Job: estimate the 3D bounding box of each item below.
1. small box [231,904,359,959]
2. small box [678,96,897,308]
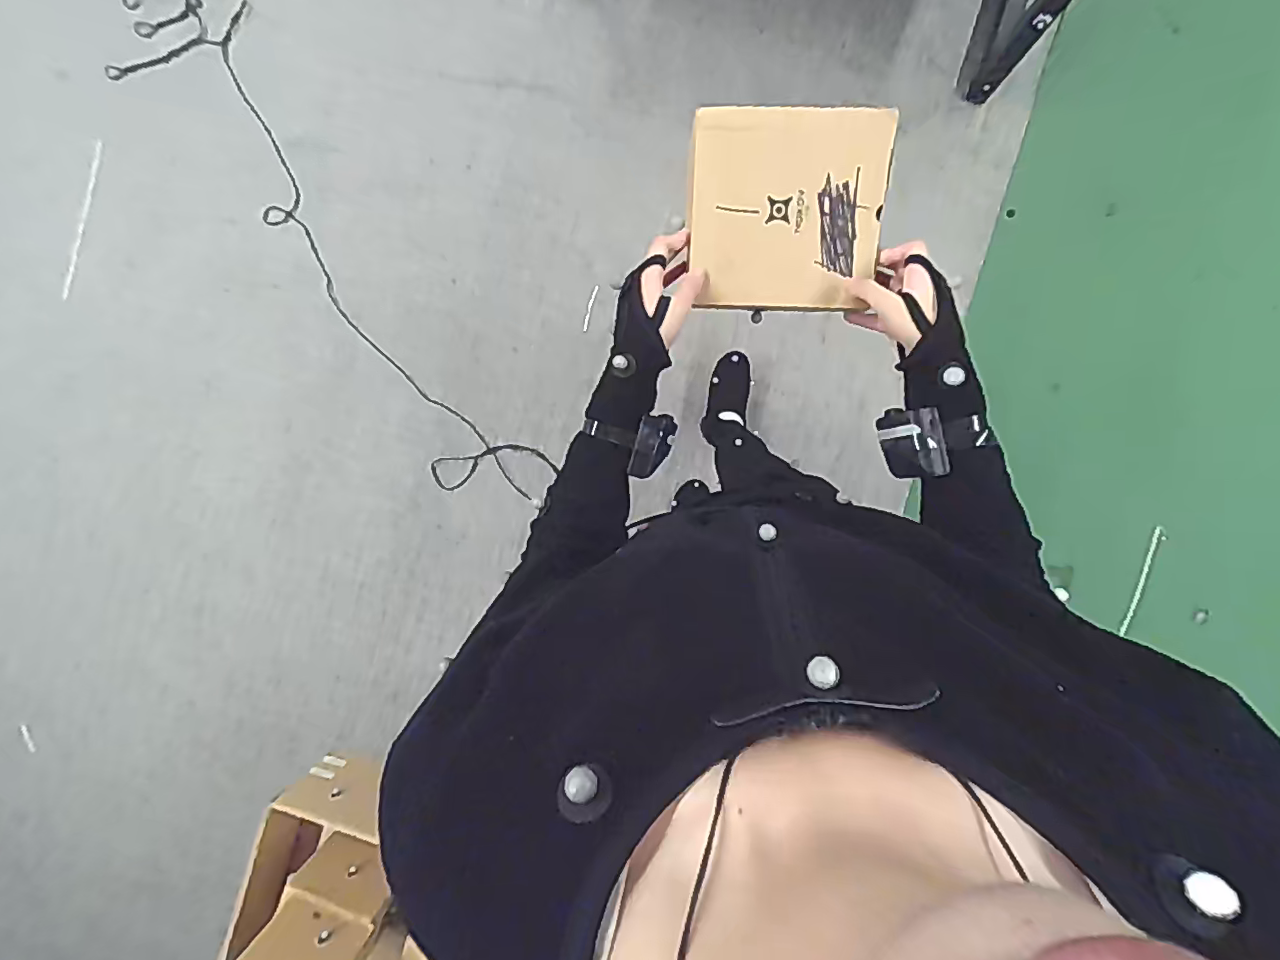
[{"bbox_3d":[-0.598,0.864,0.886,0.168,0.176,0.179,21,91,2],"label":"small box"},{"bbox_3d":[0.133,-0.269,0.560,0.179,0.176,0.168,3,106,2],"label":"small box"}]
